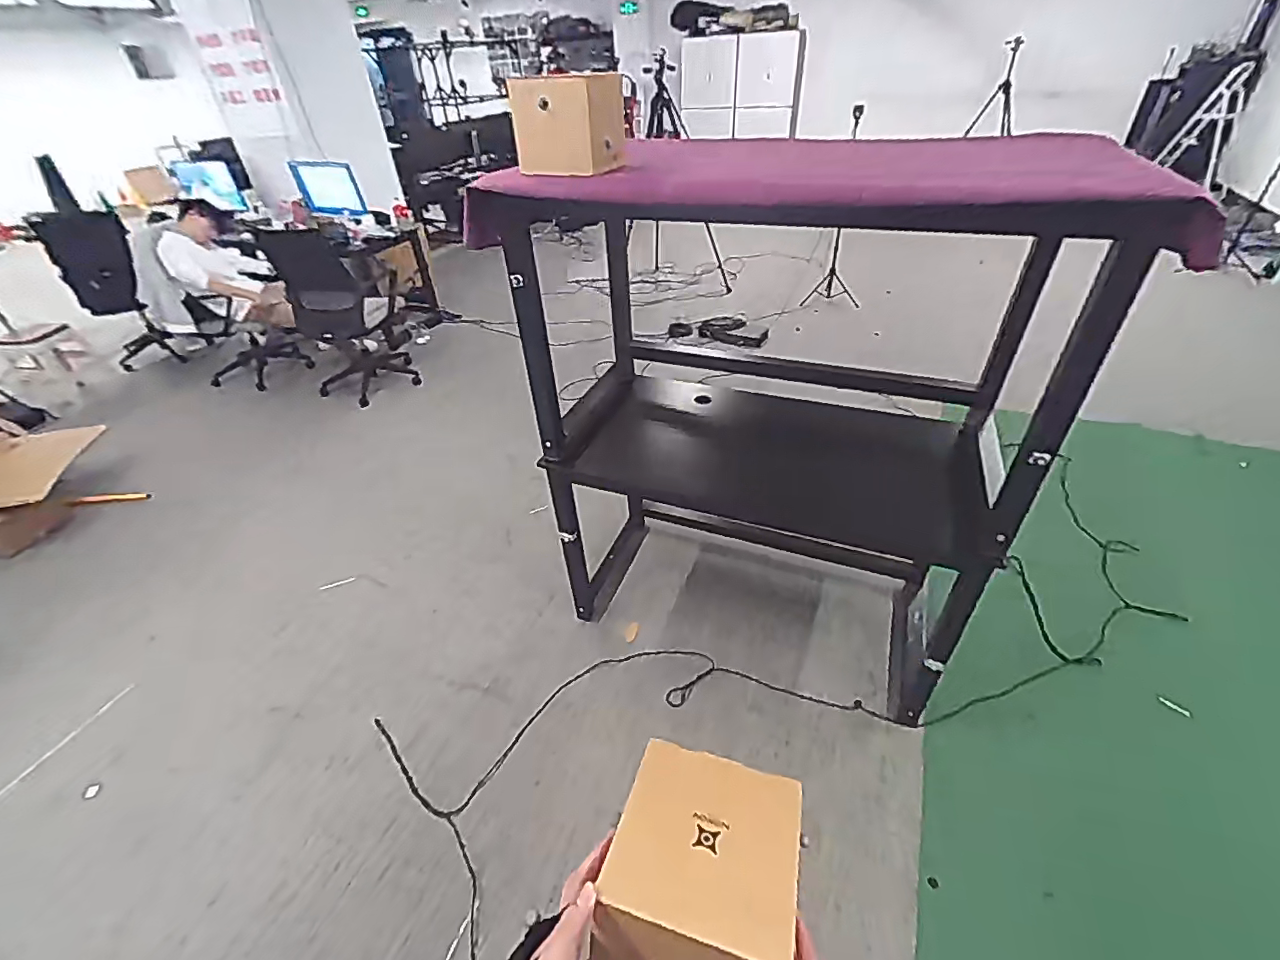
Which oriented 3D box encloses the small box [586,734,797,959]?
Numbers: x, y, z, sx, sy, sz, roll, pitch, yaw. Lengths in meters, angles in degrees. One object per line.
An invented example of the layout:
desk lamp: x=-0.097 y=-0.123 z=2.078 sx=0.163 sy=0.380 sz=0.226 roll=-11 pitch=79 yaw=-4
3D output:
small box: x=0.056 y=0.399 z=0.535 sx=0.168 sy=0.176 sz=0.179 roll=9 pitch=23 yaw=15

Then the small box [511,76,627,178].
small box: x=-0.139 y=-0.731 z=1.122 sx=0.179 sy=0.176 sz=0.168 roll=13 pitch=40 yaw=19
